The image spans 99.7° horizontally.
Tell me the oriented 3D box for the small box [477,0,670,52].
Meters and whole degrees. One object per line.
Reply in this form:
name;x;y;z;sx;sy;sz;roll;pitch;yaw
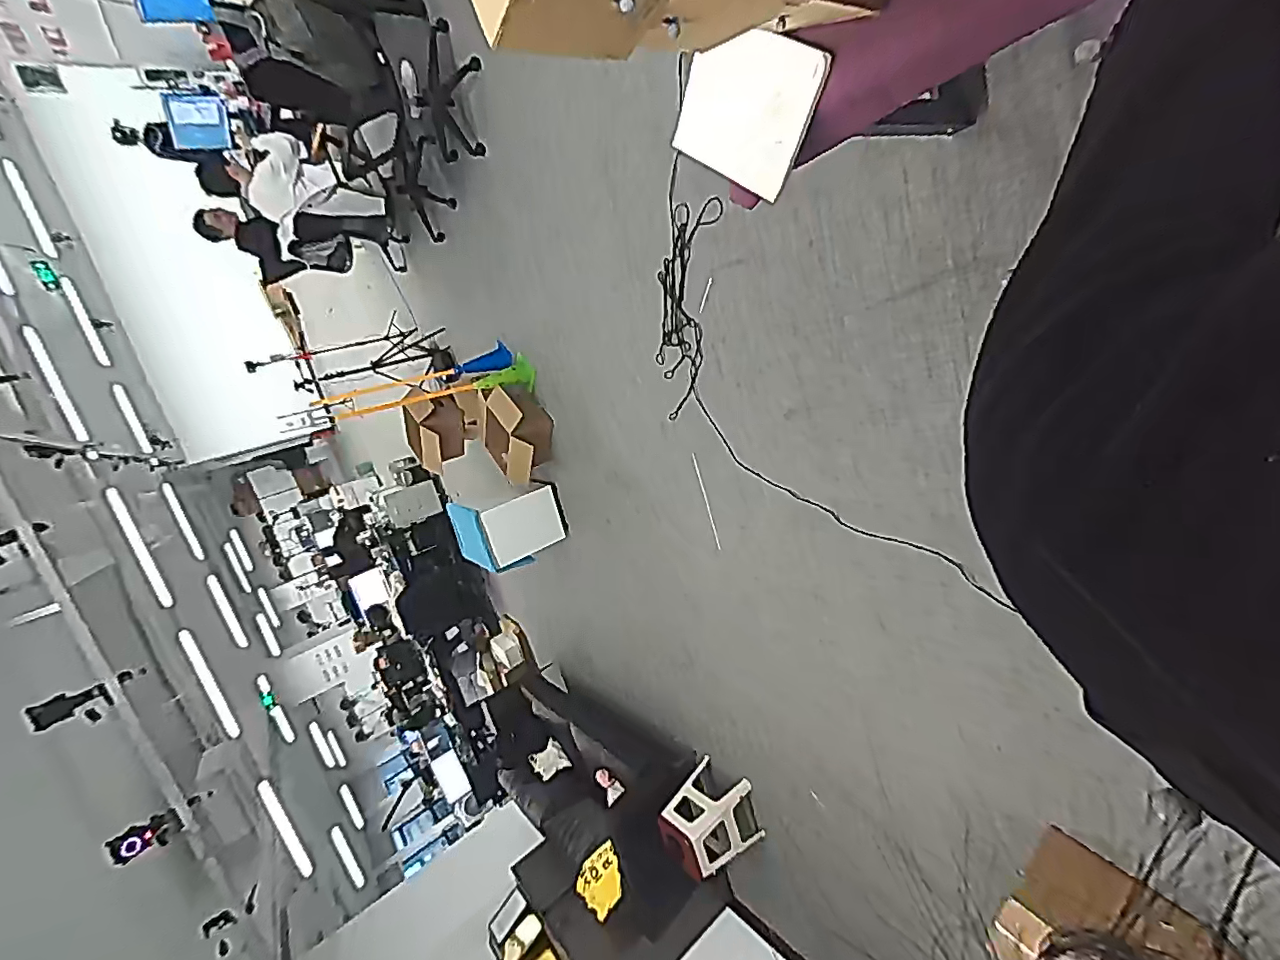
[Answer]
small box;-0.061;-0.534;0.490;0.168;0.176;0.179;-11;101;58
